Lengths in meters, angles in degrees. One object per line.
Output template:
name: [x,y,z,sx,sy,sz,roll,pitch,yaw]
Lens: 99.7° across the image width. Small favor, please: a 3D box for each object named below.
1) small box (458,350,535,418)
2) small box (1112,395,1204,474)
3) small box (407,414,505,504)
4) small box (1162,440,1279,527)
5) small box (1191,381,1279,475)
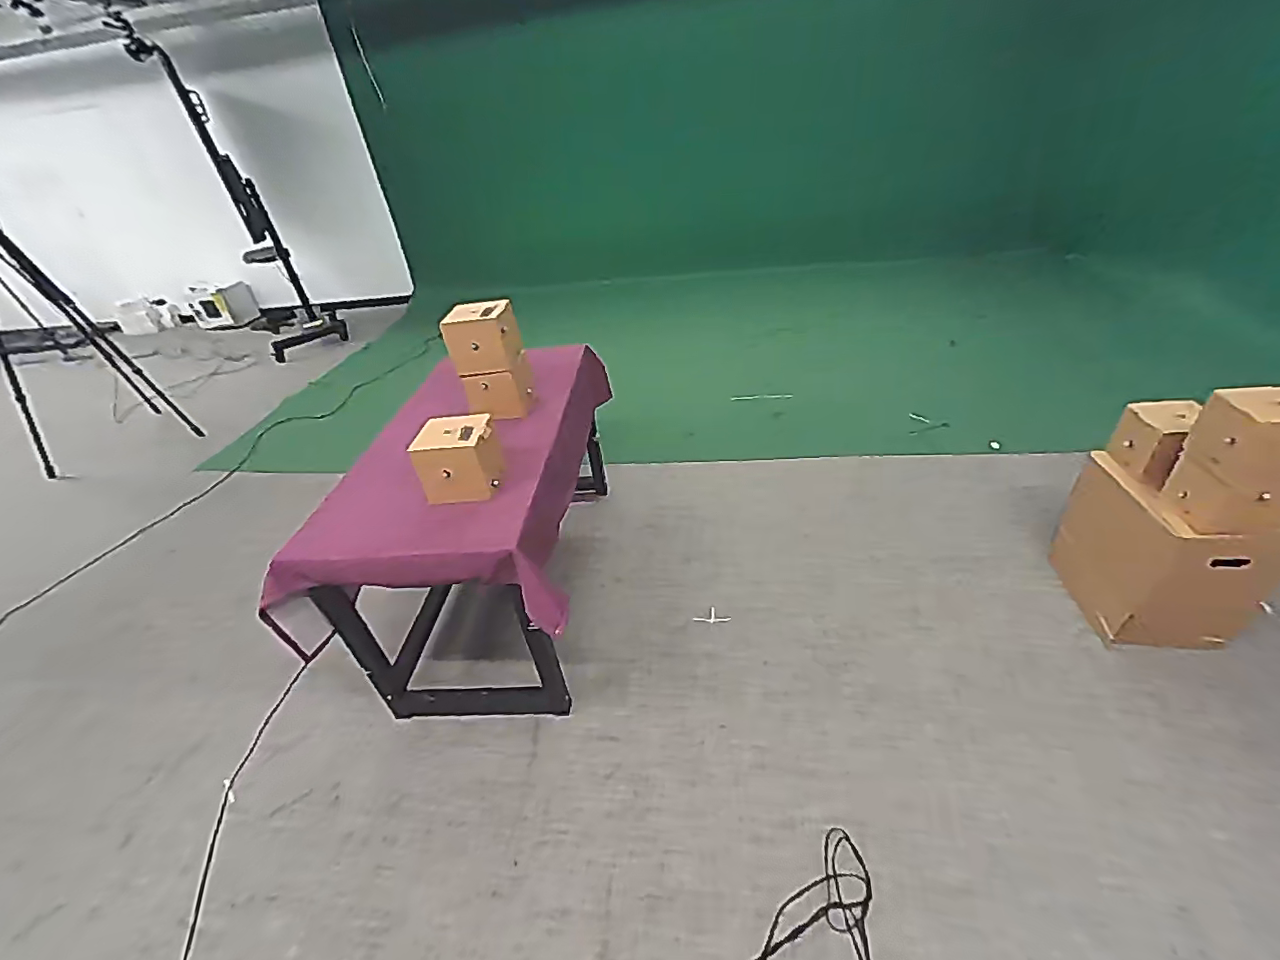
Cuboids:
small box: [-0.463,-0.310,1.771,0.179,0.176,0.168,-3,37,9]
small box: [1.532,-0.130,1.578,0.179,0.176,0.168,-3,38,10]
small box: [-0.472,-0.054,1.421,0.179,0.176,0.168,-5,35,6]
small box: [1.523,0.008,1.392,0.179,0.176,0.168,-2,35,9]
small box: [1.493,-0.123,1.299,0.179,0.176,0.168,-1,36,10]
